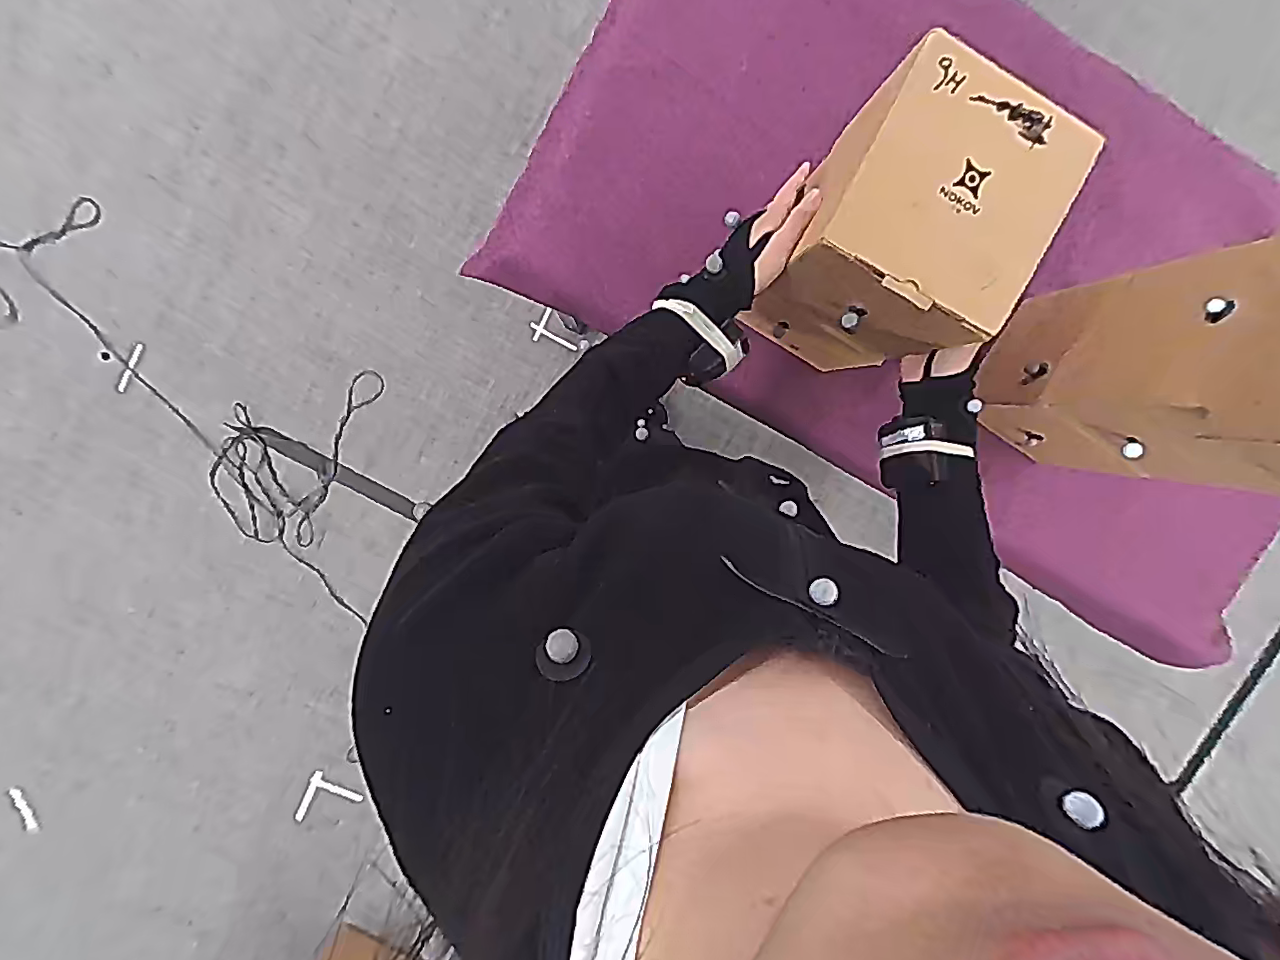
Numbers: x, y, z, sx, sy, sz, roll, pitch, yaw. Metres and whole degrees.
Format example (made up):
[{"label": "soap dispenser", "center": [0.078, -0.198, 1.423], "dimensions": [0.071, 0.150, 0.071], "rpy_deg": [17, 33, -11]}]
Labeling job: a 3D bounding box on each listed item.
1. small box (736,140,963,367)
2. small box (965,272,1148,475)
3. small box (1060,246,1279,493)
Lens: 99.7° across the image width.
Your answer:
[{"label": "small box", "center": [0.234, -0.253, 0.660], "dimensions": [0.168, 0.176, 0.179], "rpy_deg": [29, 94, -7]}, {"label": "small box", "center": [0.565, -0.129, 0.696], "dimensions": [0.168, 0.176, 0.179], "rpy_deg": [31, 95, -8]}, {"label": "small box", "center": [0.579, -0.107, 0.534], "dimensions": [0.168, 0.176, 0.179], "rpy_deg": [31, 96, -7]}]
